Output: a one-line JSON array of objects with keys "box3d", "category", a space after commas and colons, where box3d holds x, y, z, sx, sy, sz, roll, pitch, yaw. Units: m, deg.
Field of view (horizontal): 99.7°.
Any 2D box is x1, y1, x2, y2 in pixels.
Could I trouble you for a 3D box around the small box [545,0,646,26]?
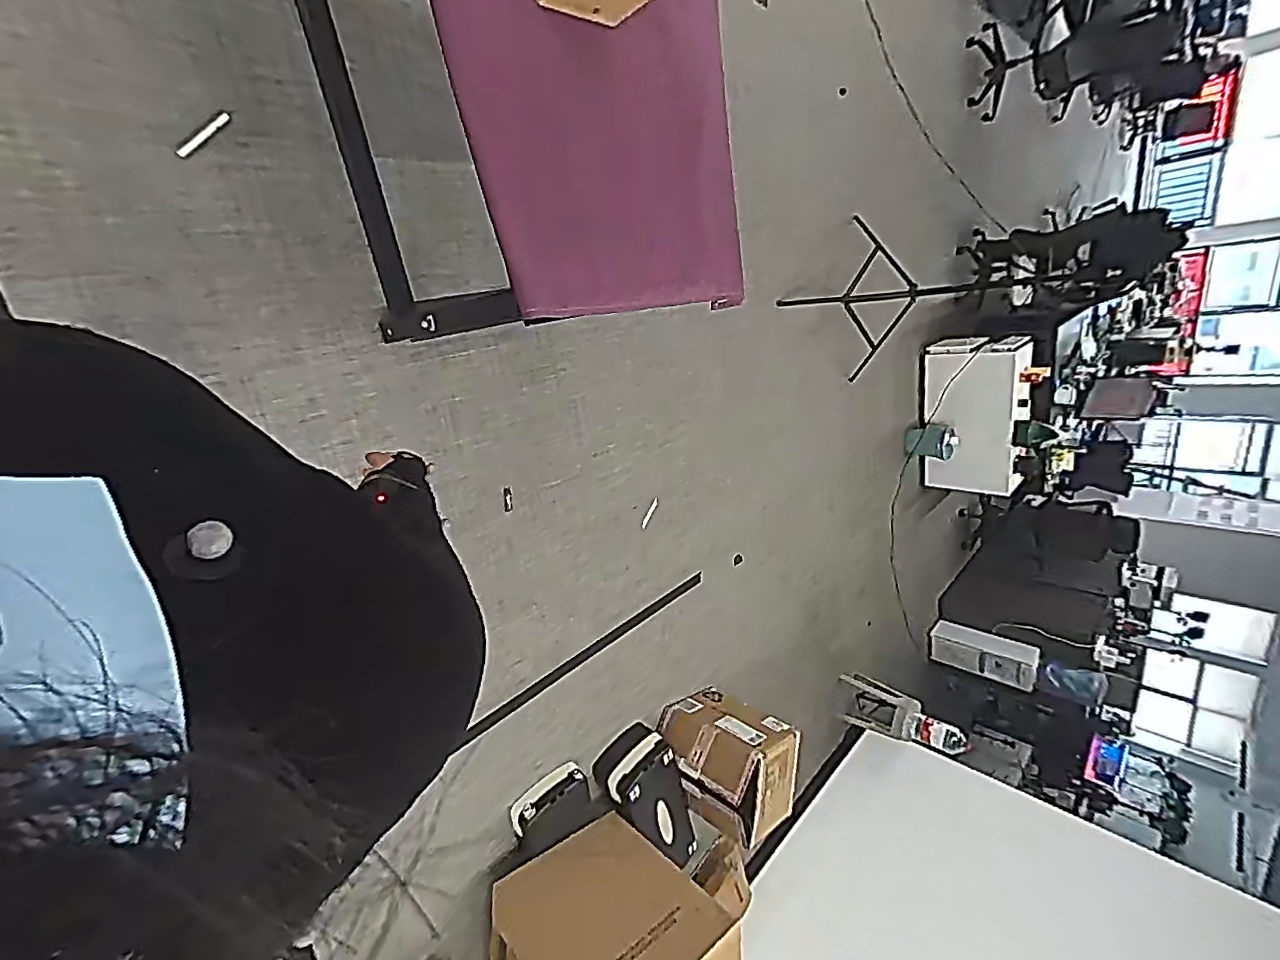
[{"box3d": [-0.062, -0.829, 0.809, 0.168, 0.176, 0.179, -24, 113, -39], "category": "small box"}]
